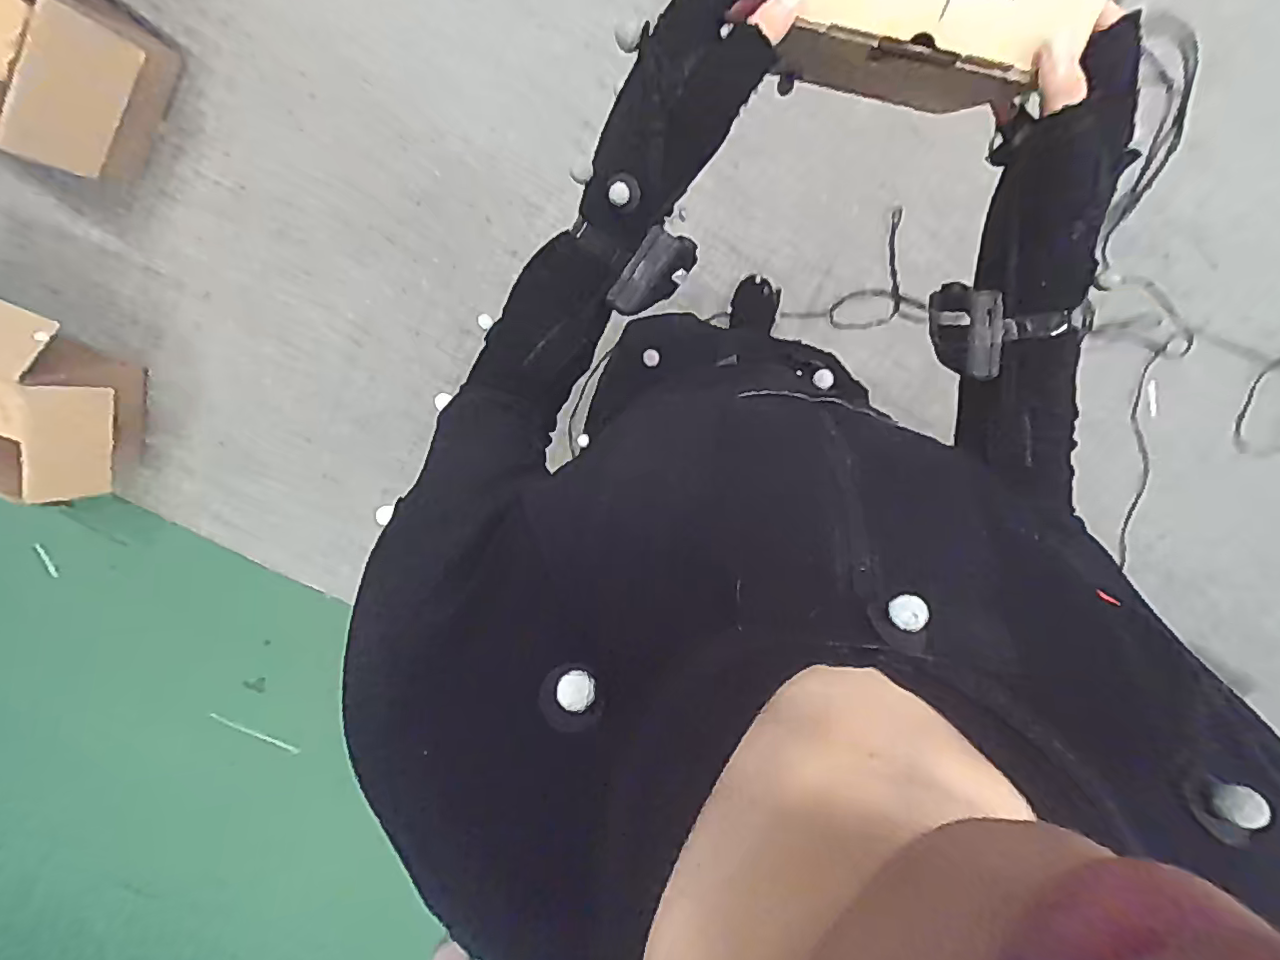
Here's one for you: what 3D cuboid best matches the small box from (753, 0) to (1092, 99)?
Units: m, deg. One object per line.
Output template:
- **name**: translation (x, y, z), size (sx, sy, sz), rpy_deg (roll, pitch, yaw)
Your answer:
- **small box**: translation (0.170, -0.349, 0.319), size (0.168, 0.176, 0.179), rpy_deg (11, 119, -1)
